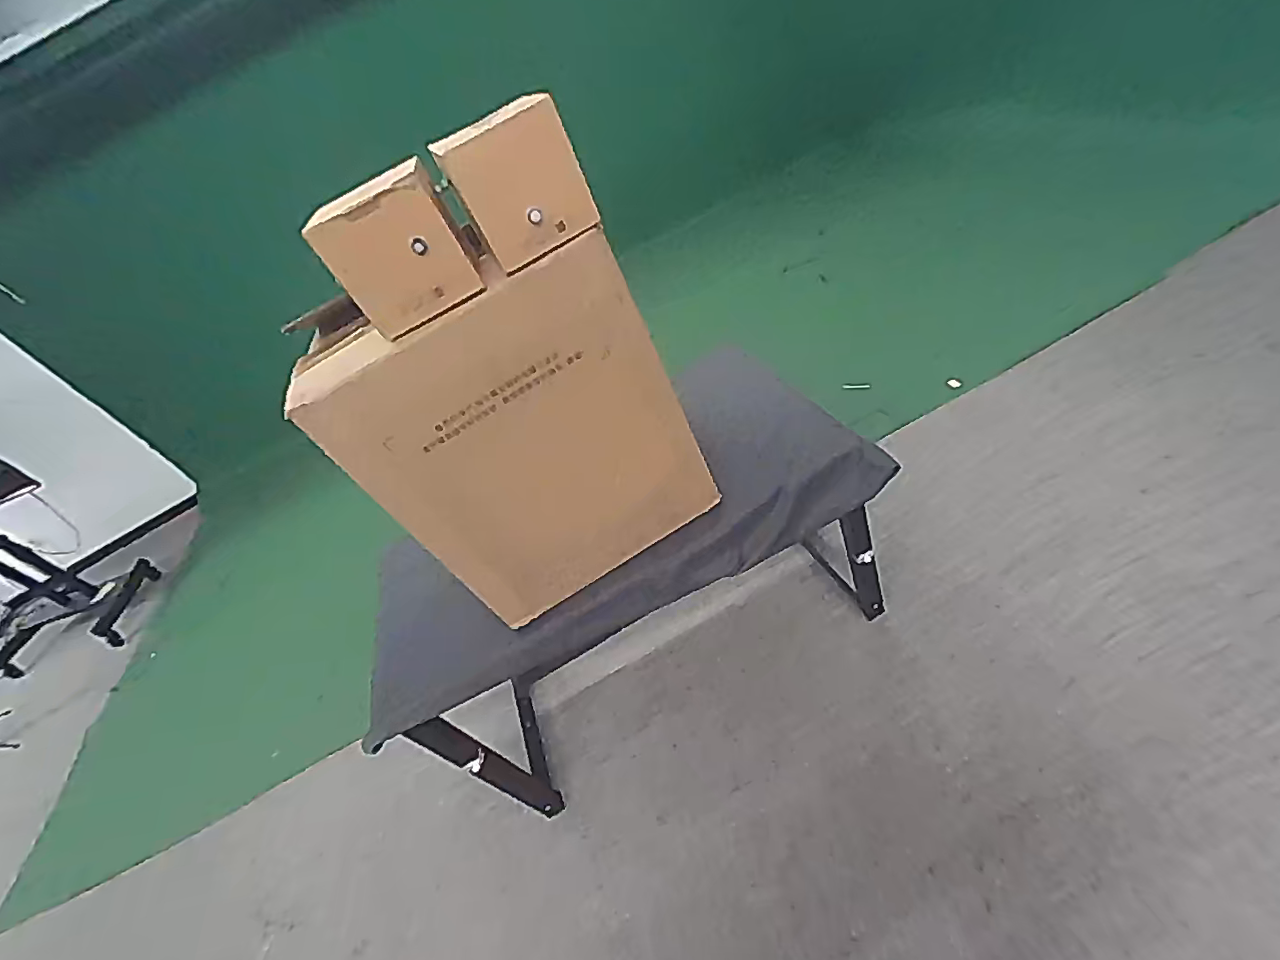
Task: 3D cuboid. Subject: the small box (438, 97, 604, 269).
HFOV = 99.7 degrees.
[{"bbox_3d":[-0.177,-0.440,0.808,0.168,0.176,0.179,-31,41,-3],"label":"small box"}]
